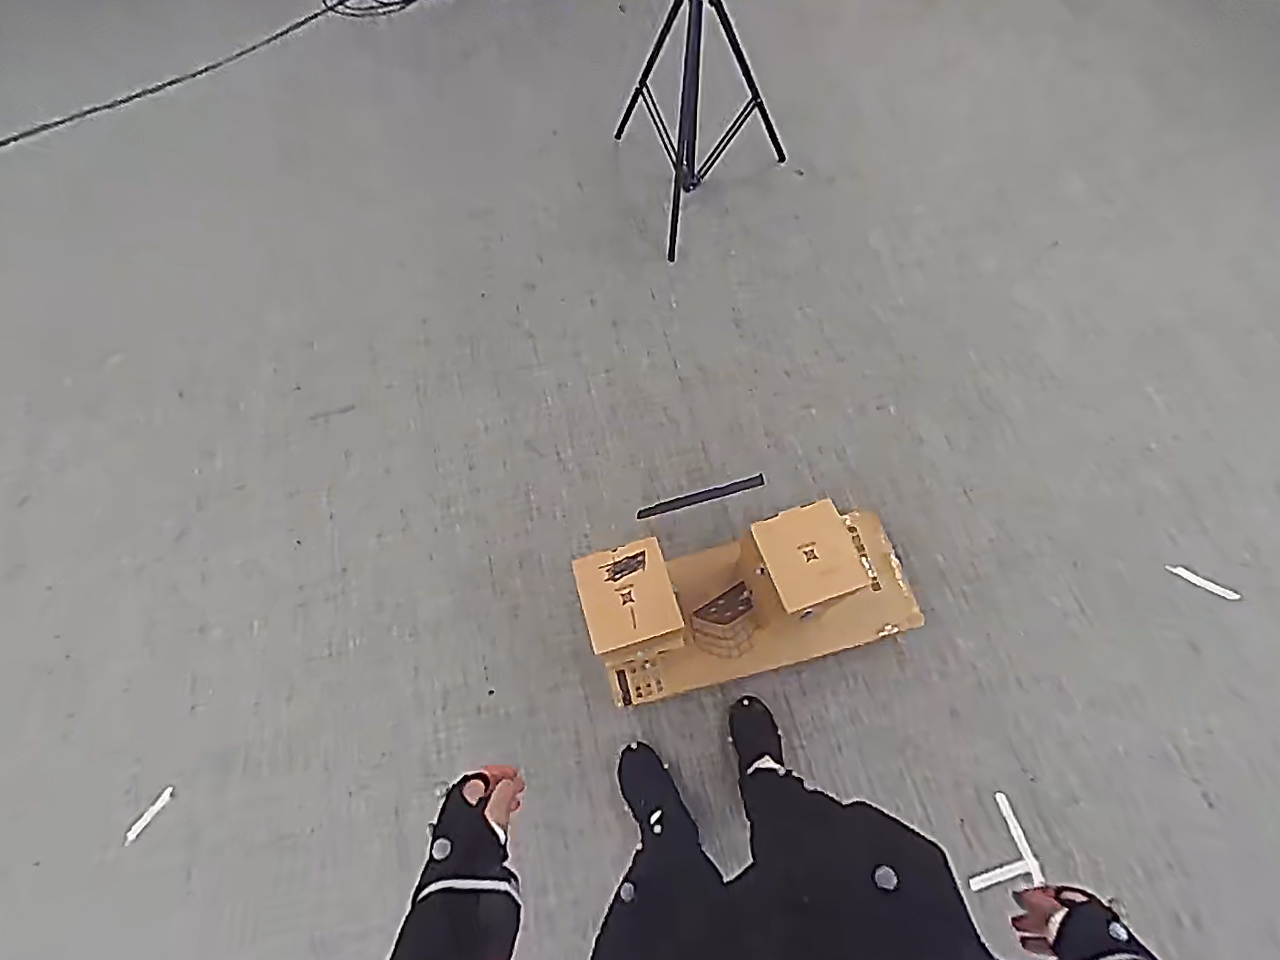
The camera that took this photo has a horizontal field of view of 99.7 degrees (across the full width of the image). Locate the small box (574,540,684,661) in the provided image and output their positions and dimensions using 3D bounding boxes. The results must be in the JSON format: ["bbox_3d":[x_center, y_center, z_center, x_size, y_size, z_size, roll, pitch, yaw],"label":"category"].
[{"bbox_3d":[-0.022,0.238,1.044,0.168,0.176,0.179,-16,69,-4],"label":"small box"}]

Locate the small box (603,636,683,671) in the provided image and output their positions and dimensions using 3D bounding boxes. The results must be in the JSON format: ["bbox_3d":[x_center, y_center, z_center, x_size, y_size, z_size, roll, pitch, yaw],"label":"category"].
[{"bbox_3d":[-0.010,0.311,1.191,0.168,0.176,0.179,-15,69,-3],"label":"small box"}]

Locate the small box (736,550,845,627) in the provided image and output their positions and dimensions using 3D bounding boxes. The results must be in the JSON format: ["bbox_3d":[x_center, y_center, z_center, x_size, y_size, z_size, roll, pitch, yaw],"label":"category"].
[{"bbox_3d":[0.327,0.224,1.212,0.168,0.176,0.179,-16,70,-5],"label":"small box"}]

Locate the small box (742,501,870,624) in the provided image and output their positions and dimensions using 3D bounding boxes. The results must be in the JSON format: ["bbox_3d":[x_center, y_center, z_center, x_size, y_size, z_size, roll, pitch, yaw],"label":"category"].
[{"bbox_3d":[0.311,0.168,1.060,0.168,0.176,0.179,-19,69,-4],"label":"small box"}]
